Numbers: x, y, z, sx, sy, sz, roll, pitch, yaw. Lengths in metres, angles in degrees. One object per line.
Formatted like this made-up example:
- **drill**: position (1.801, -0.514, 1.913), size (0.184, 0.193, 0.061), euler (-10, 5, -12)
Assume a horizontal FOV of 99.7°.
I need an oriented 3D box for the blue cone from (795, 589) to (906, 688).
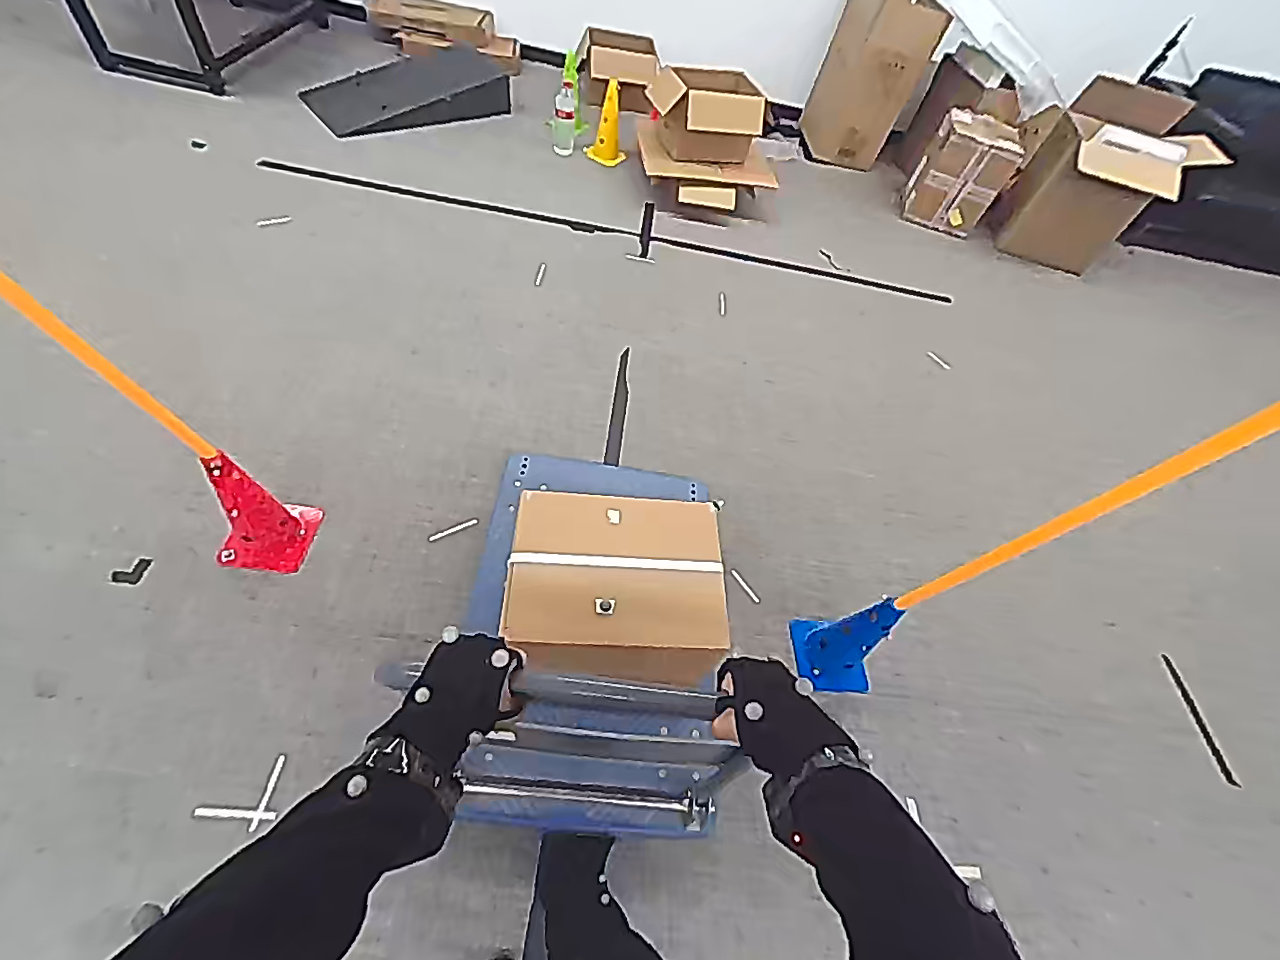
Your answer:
- **blue cone**: position (0.565, 0.385, 1.383), size (0.193, 0.380, 0.192), euler (6, 53, -8)
